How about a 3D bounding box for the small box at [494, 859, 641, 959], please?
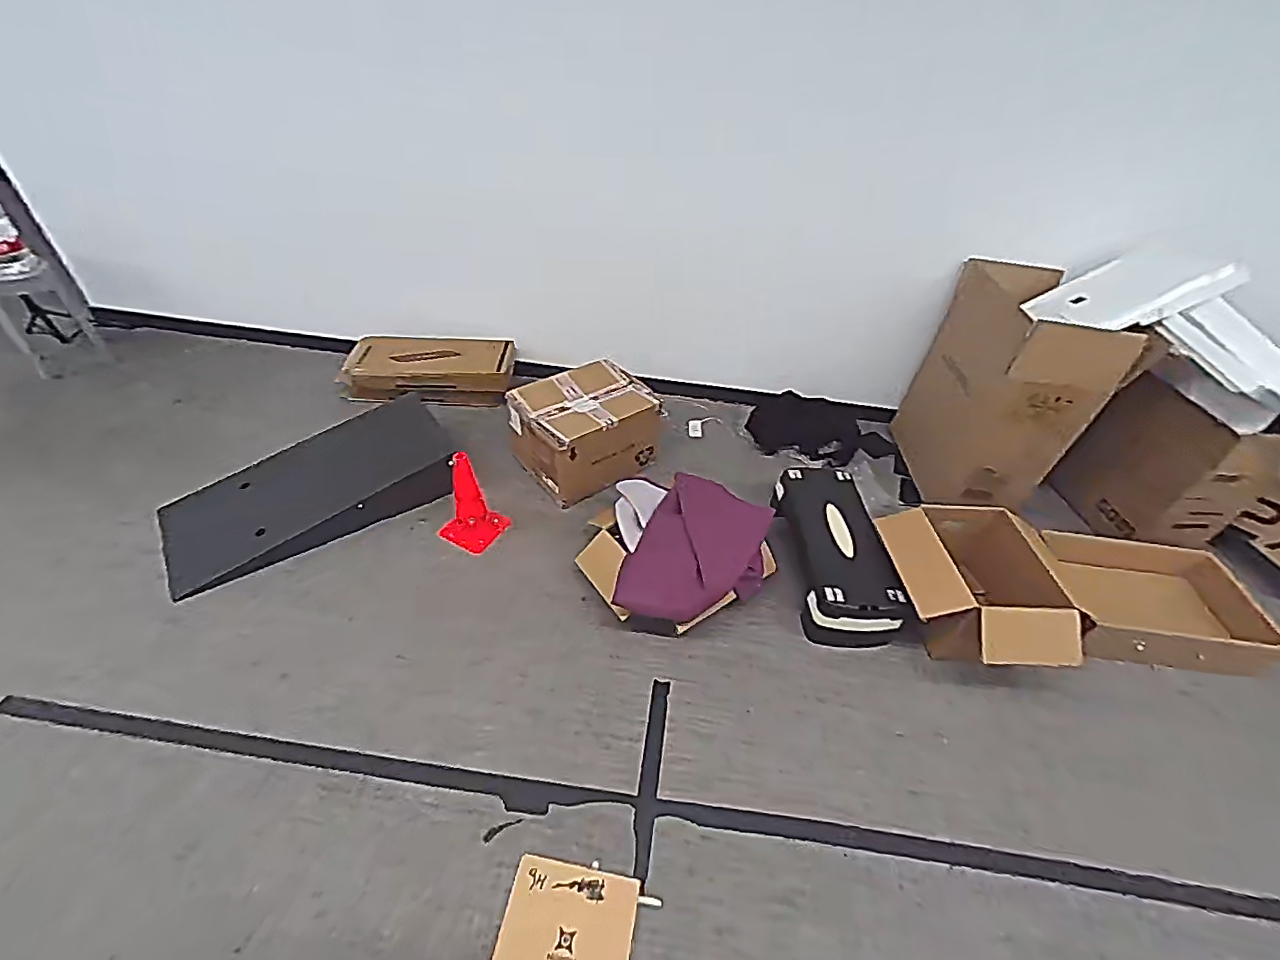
[{"bbox_3d":[-0.096,0.634,0.705,0.168,0.176,0.179,9,42,6],"label":"small box"}]
